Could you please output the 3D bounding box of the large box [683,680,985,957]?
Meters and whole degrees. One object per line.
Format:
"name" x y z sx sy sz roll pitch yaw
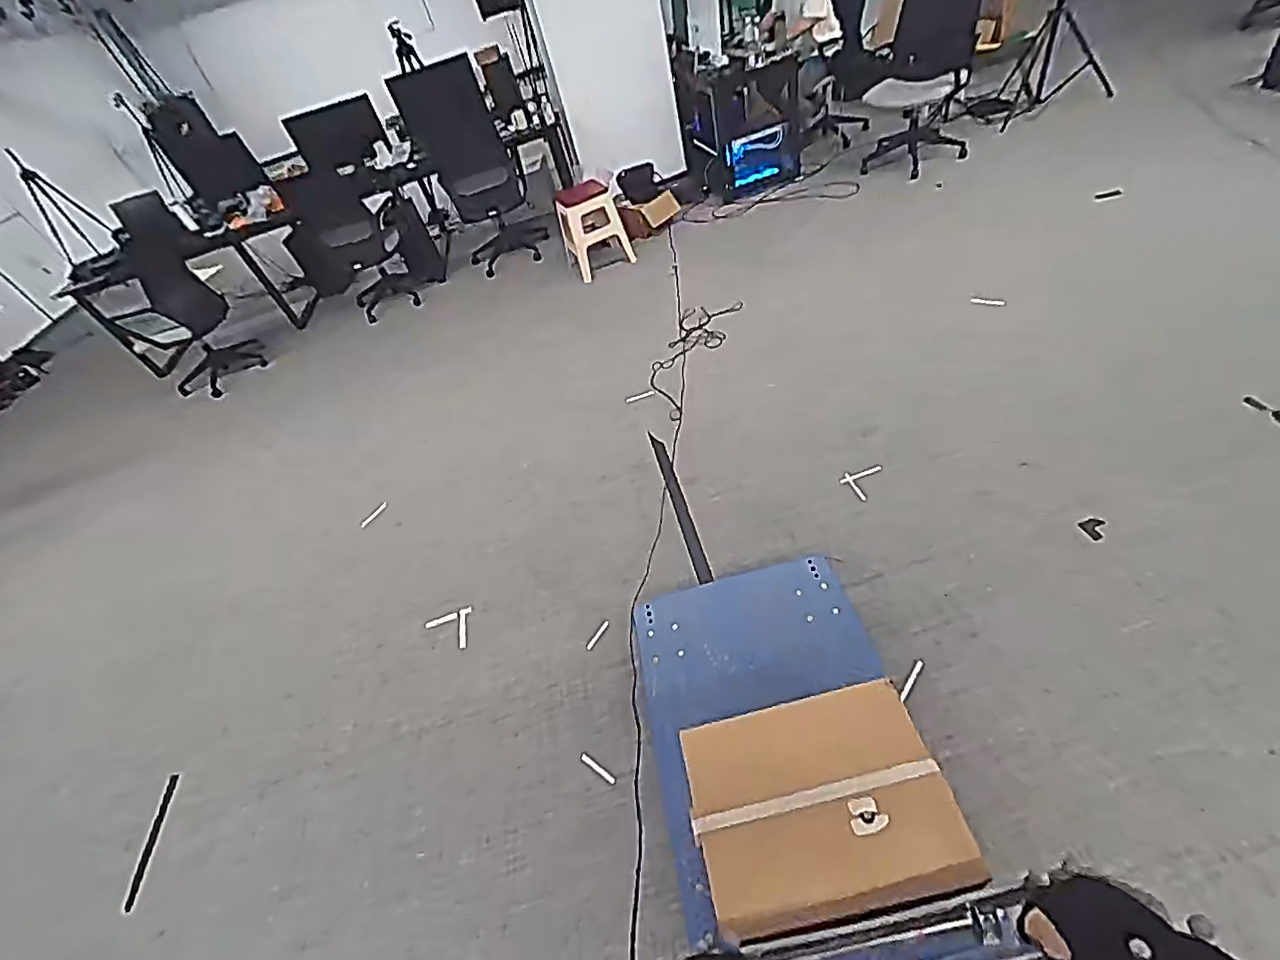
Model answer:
"large box" 0.328 0.632 1.008 0.408 0.320 0.320 -16 45 2
